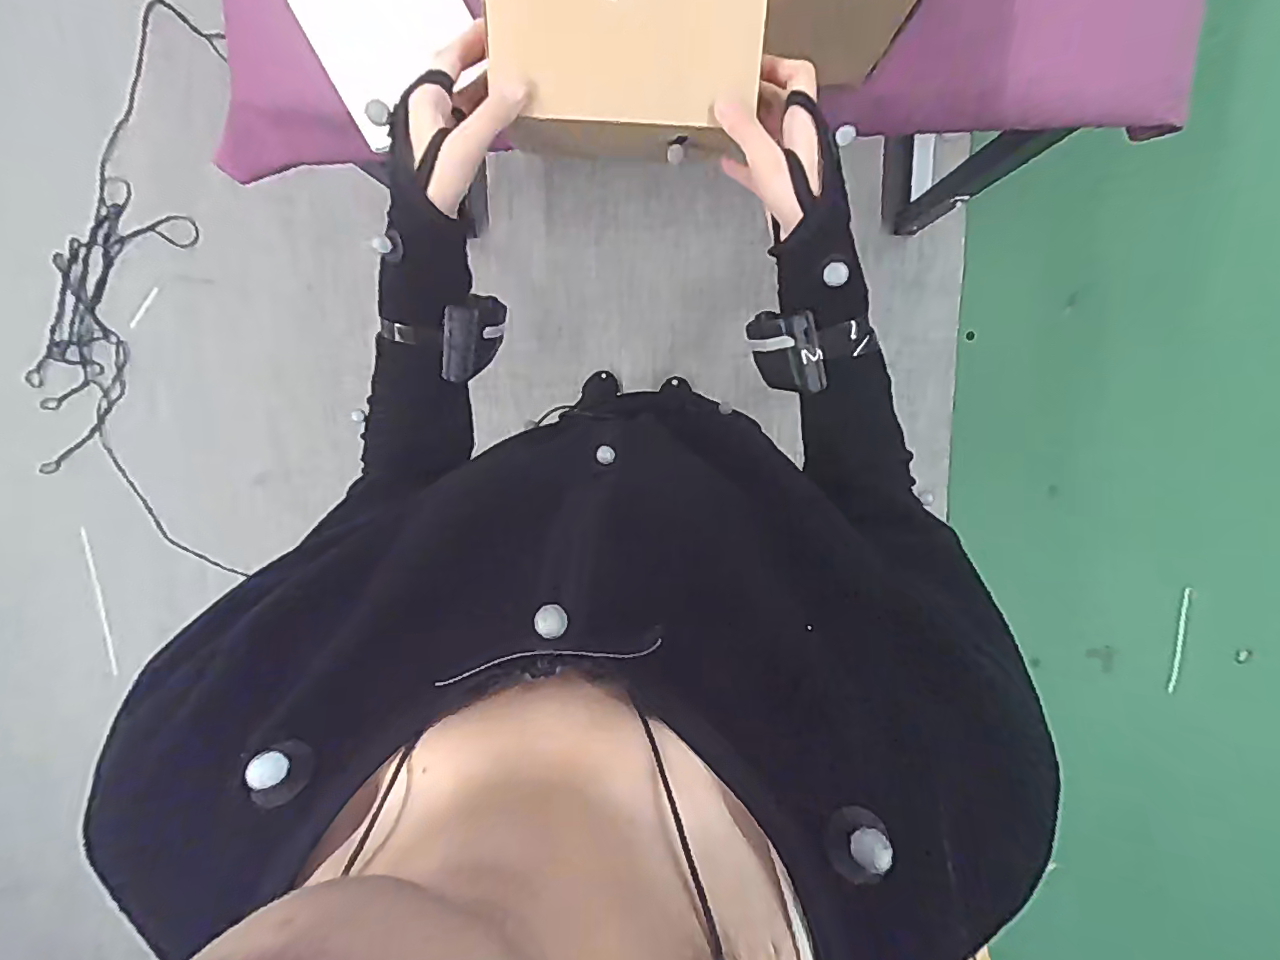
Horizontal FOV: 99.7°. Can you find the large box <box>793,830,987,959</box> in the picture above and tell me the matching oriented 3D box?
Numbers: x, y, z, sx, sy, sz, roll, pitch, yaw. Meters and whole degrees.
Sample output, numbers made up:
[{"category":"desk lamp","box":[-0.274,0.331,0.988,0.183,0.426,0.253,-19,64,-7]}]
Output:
[{"category":"large box","box":[0.693,1.270,1.520,0.408,0.320,0.320,-15,99,4]}]

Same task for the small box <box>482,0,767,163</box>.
[{"category":"small box","box":[-0.014,-0.339,0.392,0.179,0.176,0.168,0,112,-5]}]
